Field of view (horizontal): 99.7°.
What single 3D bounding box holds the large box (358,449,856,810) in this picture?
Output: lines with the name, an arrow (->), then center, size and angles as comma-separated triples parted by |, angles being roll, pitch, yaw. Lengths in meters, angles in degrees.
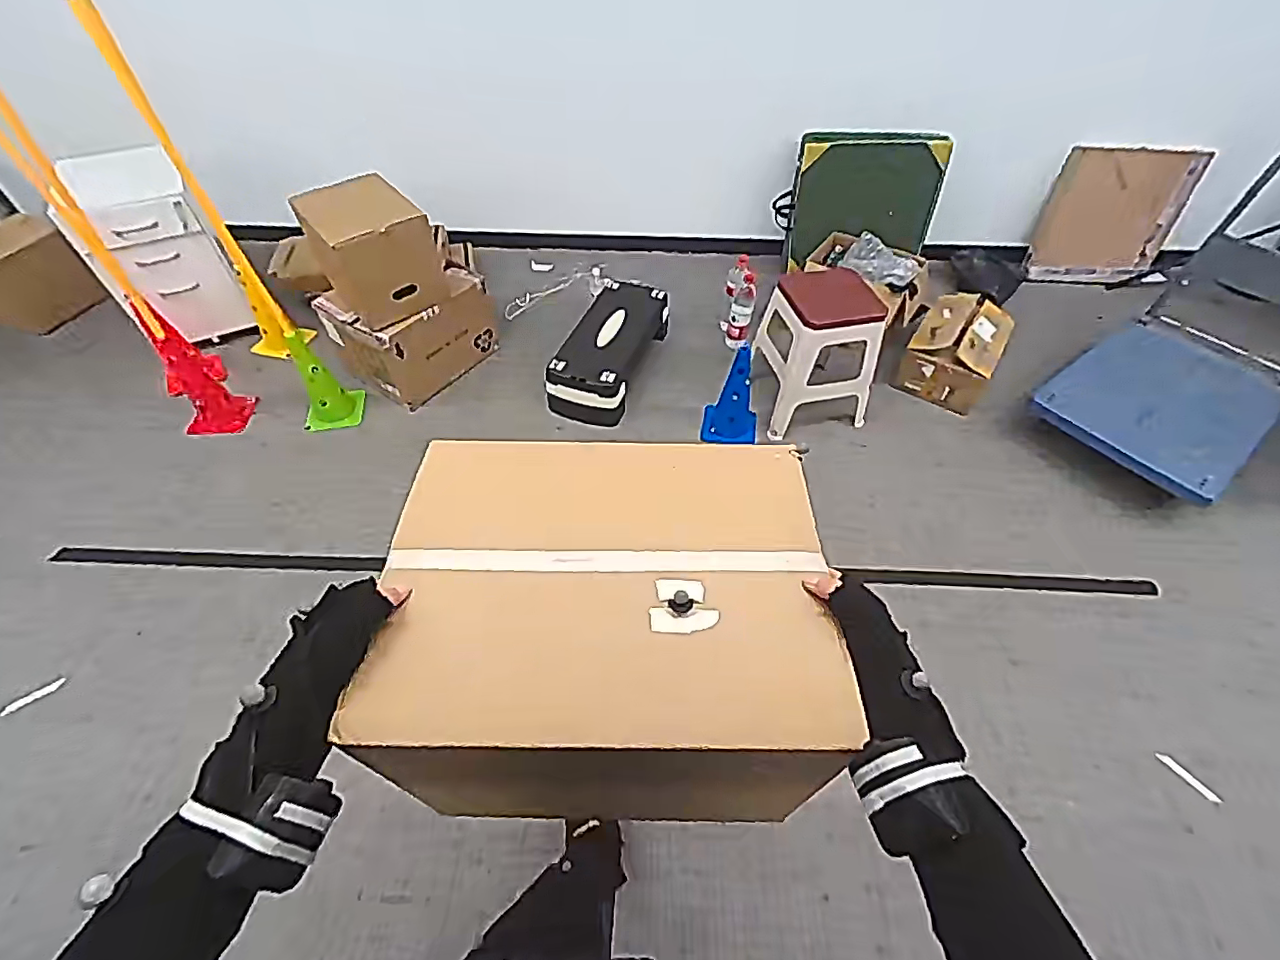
large box -> -0.029, 0.178, 0.633 | 0.408, 0.320, 0.320 | 1, 49, 0
